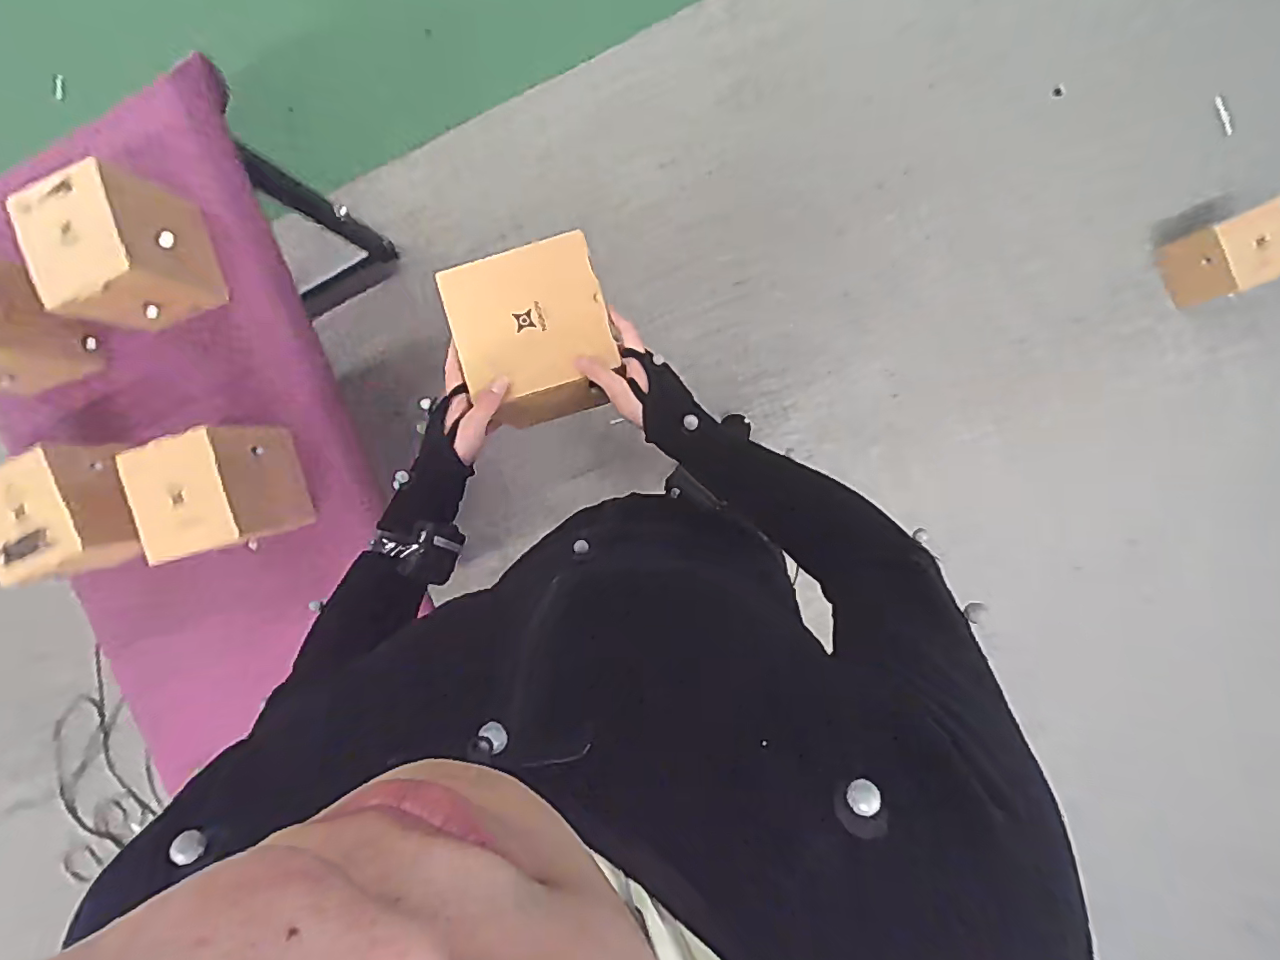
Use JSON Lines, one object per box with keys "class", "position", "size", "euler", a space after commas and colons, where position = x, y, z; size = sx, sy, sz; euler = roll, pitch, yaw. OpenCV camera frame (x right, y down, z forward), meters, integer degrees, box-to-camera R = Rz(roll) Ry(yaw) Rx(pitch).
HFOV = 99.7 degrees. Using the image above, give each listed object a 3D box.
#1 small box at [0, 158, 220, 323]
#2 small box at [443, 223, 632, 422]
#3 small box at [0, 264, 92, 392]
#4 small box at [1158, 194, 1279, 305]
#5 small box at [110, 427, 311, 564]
{"class": "small box", "position": [-0.829, -0.364, 0.865], "size": [0.168, 0.176, 0.179], "euler": [-18, 93, 7]}
{"class": "small box", "position": [-0.114, -0.179, 0.672], "size": [0.179, 0.176, 0.168], "euler": [-16, 87, -1]}
{"class": "small box", "position": [-1.075, -0.253, 0.897], "size": [0.179, 0.176, 0.168], "euler": [-17, 92, 7]}
{"class": "small box", "position": [1.473, -0.568, 1.358], "size": [0.168, 0.176, 0.179], "euler": [-23, 92, 7]}
{"class": "small box", "position": [-0.683, 0.019, 0.879], "size": [0.168, 0.176, 0.179], "euler": [-15, 93, 8]}
